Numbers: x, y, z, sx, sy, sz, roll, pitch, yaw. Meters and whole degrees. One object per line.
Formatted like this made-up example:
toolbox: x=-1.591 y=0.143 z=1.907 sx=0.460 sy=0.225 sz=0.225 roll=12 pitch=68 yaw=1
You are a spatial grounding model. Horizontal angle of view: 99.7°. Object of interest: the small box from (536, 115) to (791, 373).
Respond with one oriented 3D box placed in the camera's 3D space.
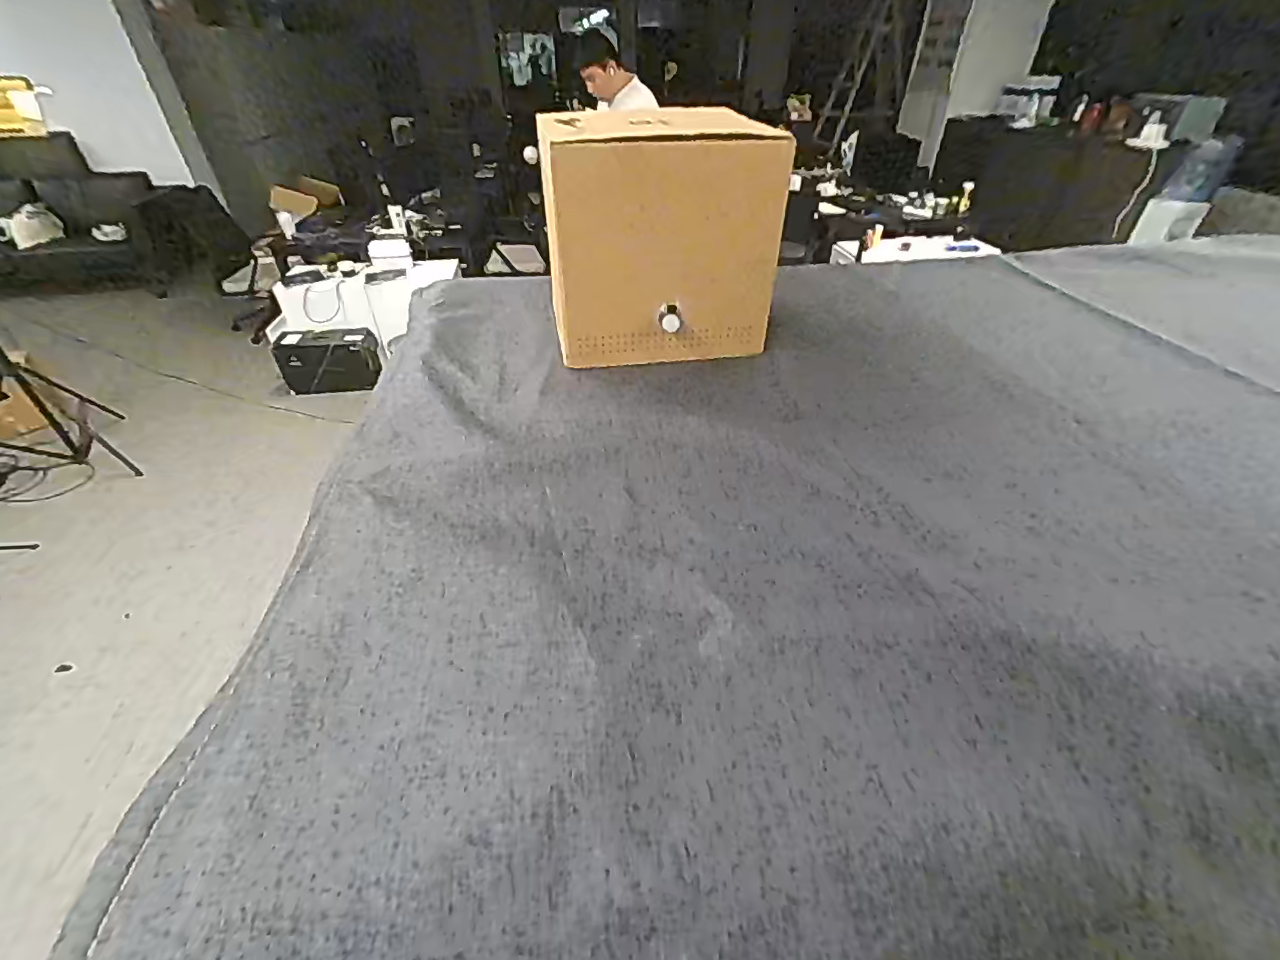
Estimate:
small box: x=0.006 y=-0.208 z=0.474 sx=0.179 sy=0.176 sz=0.168 roll=-6 pitch=39 yaw=-9
